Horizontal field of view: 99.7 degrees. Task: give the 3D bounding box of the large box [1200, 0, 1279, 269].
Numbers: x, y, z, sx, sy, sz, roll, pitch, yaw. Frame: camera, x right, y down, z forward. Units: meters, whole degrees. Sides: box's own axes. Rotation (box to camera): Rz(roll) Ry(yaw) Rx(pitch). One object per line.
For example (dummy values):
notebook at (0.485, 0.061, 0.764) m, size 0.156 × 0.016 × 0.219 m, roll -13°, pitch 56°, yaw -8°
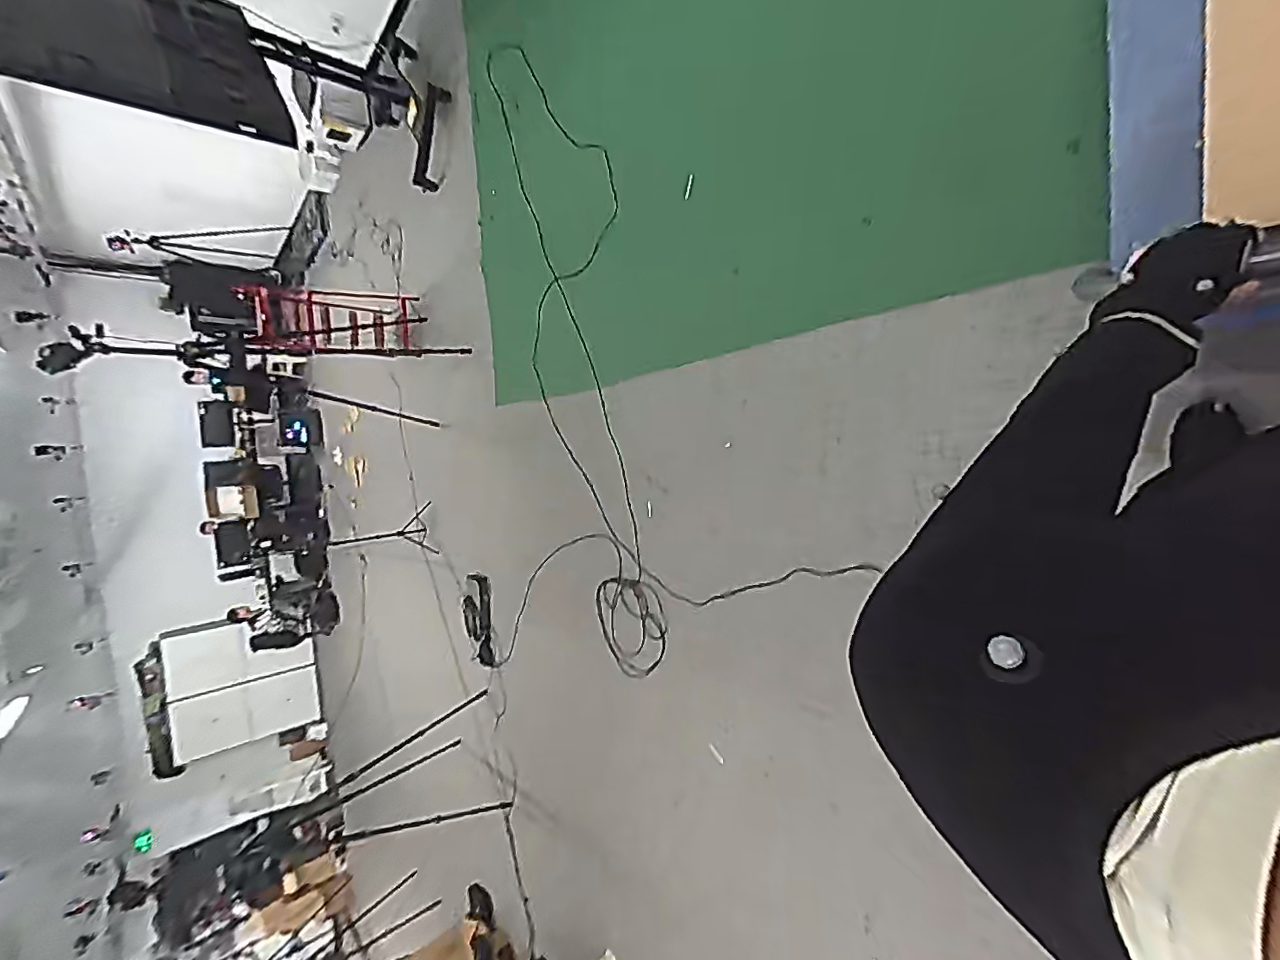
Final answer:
large box at (1.057, -0.577, 0.790) m, size 0.320 × 0.320 × 0.408 m, roll 1°, pitch 95°, yaw 48°
